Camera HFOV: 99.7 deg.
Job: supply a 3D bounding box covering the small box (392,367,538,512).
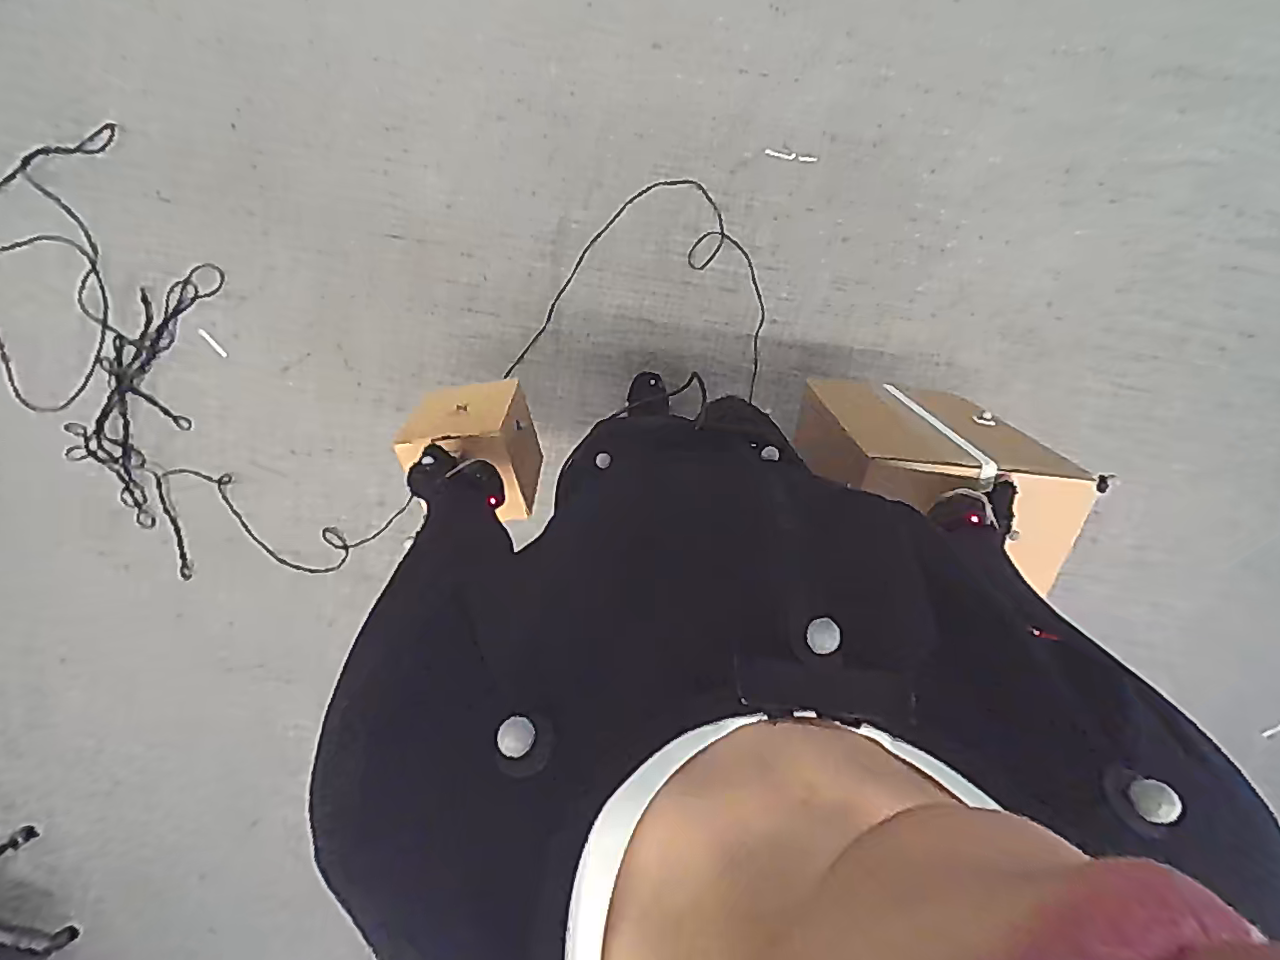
[{"bbox_3d":[-0.275,-0.068,0.899,0.168,0.179,0.176,-6,129,4],"label":"small box"}]
